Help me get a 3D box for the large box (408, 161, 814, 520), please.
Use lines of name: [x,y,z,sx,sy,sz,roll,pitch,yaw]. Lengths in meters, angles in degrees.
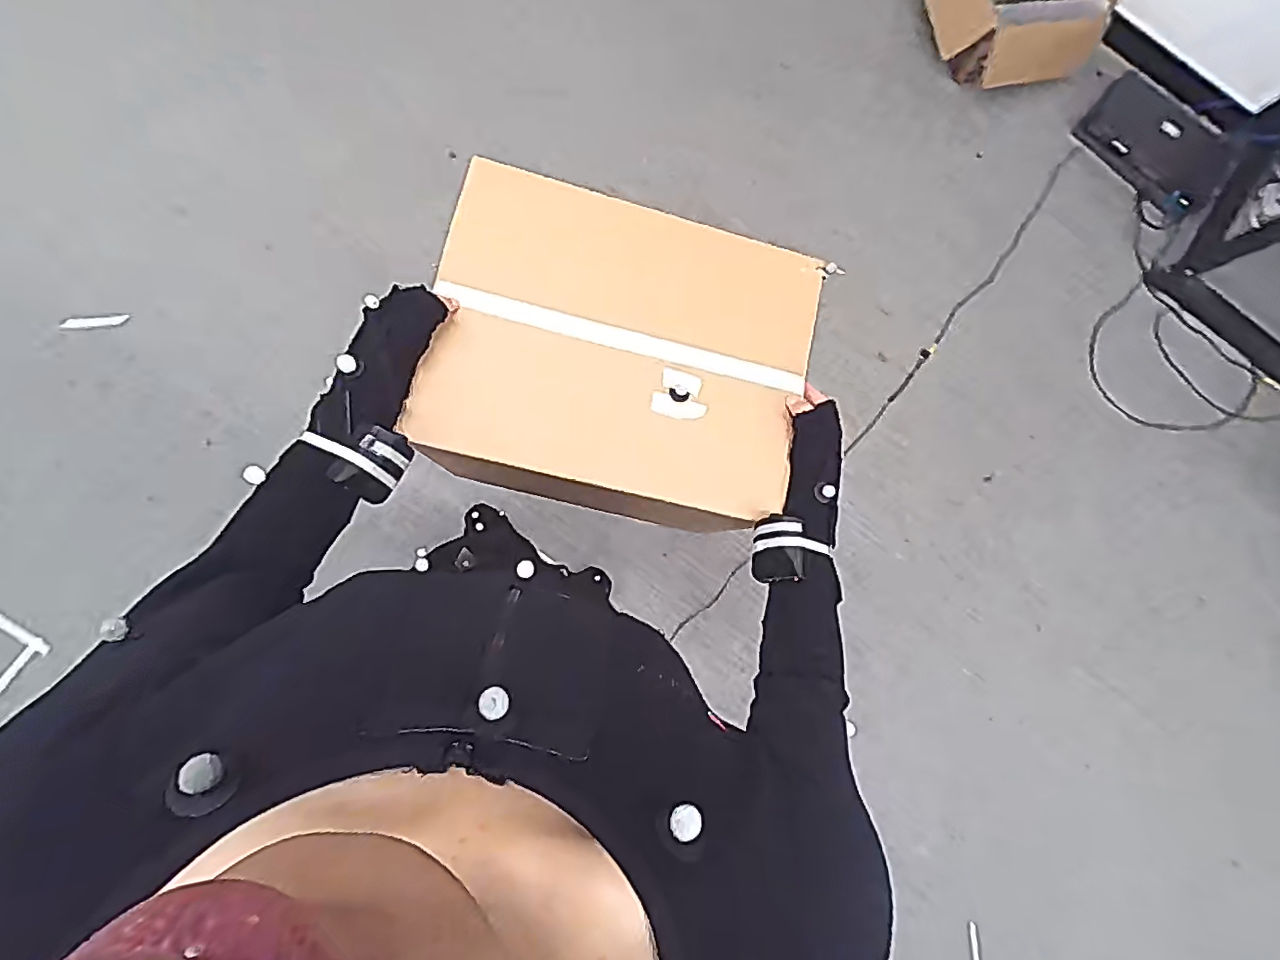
large box: [-0.039,-0.141,0.731,0.408,0.320,0.320,13,82,-7]
